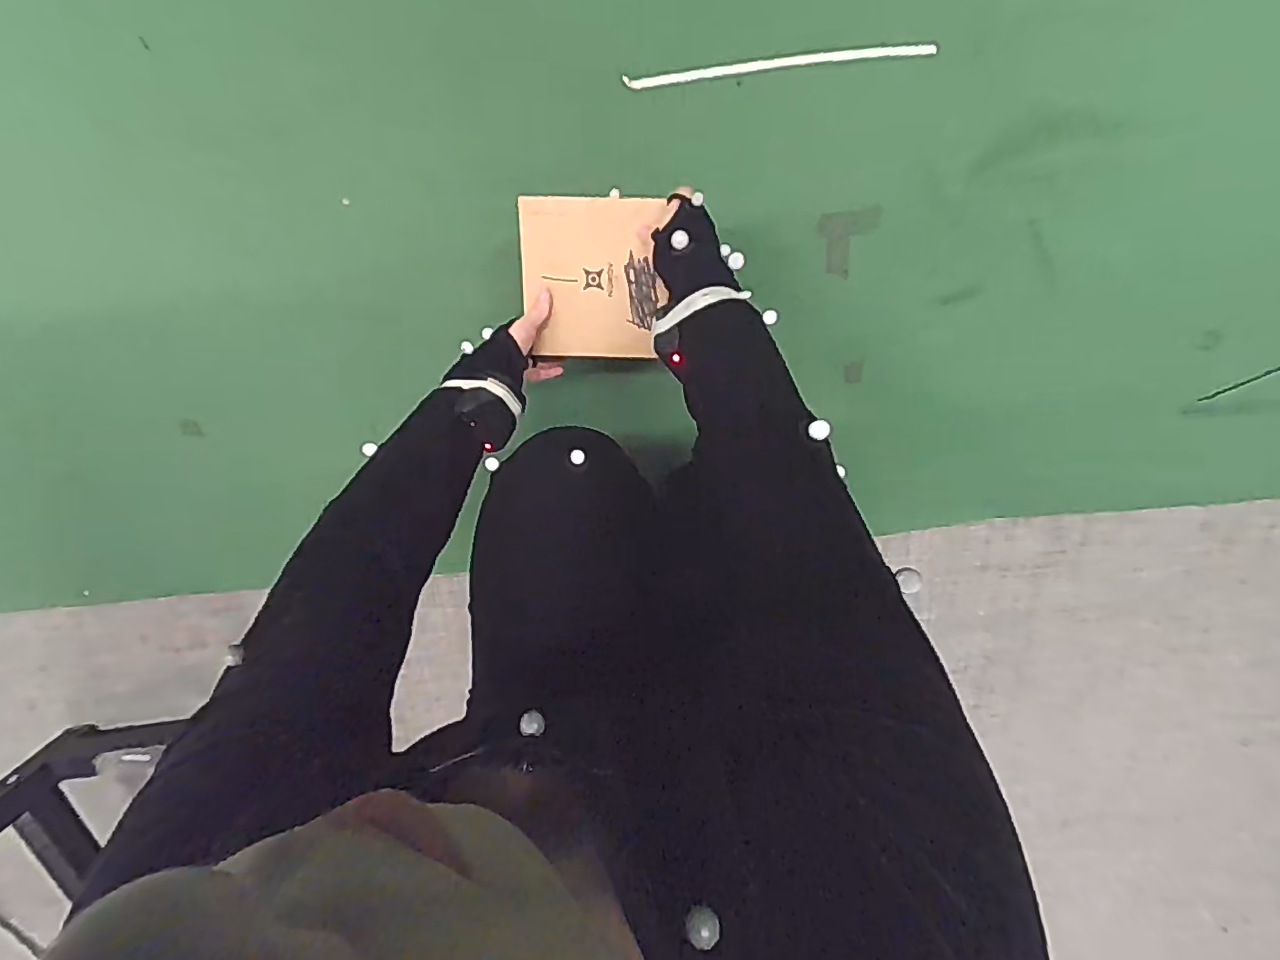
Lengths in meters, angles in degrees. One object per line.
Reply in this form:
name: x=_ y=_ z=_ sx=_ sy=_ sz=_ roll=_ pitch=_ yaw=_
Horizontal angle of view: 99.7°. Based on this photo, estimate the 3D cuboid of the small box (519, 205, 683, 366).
small box: x=-0.041 y=-0.238 z=0.670 sx=0.179 sy=0.176 sz=0.168 roll=2 pitch=109 yaw=2
